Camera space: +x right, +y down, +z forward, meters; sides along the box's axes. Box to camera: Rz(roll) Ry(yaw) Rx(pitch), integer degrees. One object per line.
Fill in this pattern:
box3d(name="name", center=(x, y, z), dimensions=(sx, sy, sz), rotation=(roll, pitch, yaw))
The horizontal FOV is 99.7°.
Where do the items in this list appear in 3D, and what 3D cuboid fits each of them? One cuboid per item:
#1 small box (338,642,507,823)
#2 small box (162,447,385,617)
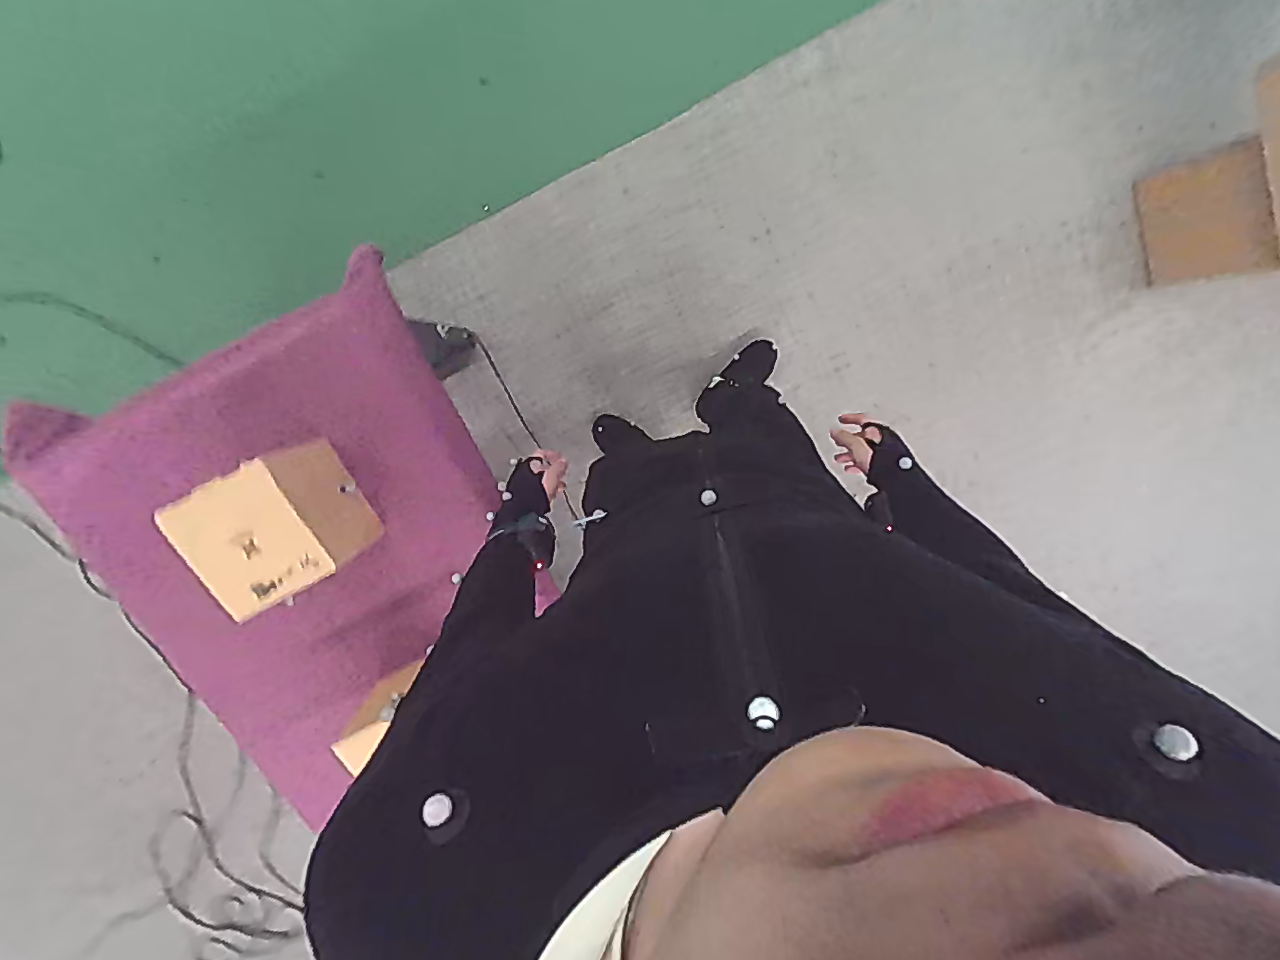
box3d(name="small box", center=(-0.334, 0.397, 0.877), dimensions=(0.179, 0.176, 0.168), rotation=(-29, 102, 5))
box3d(name="small box", center=(-0.518, 0.062, 0.793), dimensions=(0.168, 0.176, 0.179), rotation=(-27, 102, 4))
